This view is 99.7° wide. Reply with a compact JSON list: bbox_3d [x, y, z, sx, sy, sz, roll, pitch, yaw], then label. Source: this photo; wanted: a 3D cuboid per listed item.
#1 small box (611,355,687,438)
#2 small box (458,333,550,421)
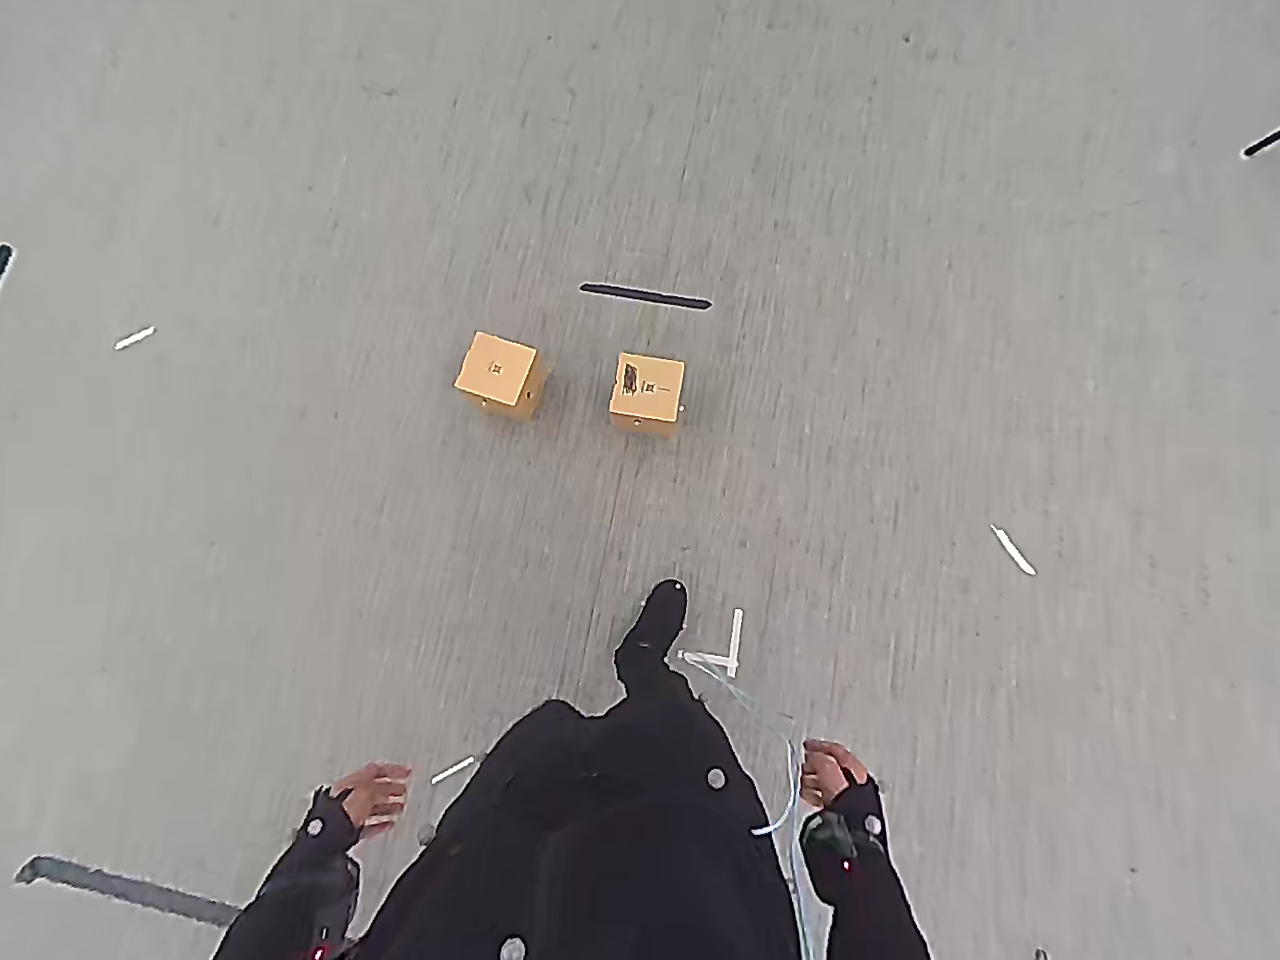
[{"bbox_3d":[0.026,-0.222,1.474,0.179,0.176,0.168,10,81,3],"label":"small box"},{"bbox_3d":[-0.366,-0.276,1.498,0.179,0.176,0.168,19,81,6],"label":"small box"}]
